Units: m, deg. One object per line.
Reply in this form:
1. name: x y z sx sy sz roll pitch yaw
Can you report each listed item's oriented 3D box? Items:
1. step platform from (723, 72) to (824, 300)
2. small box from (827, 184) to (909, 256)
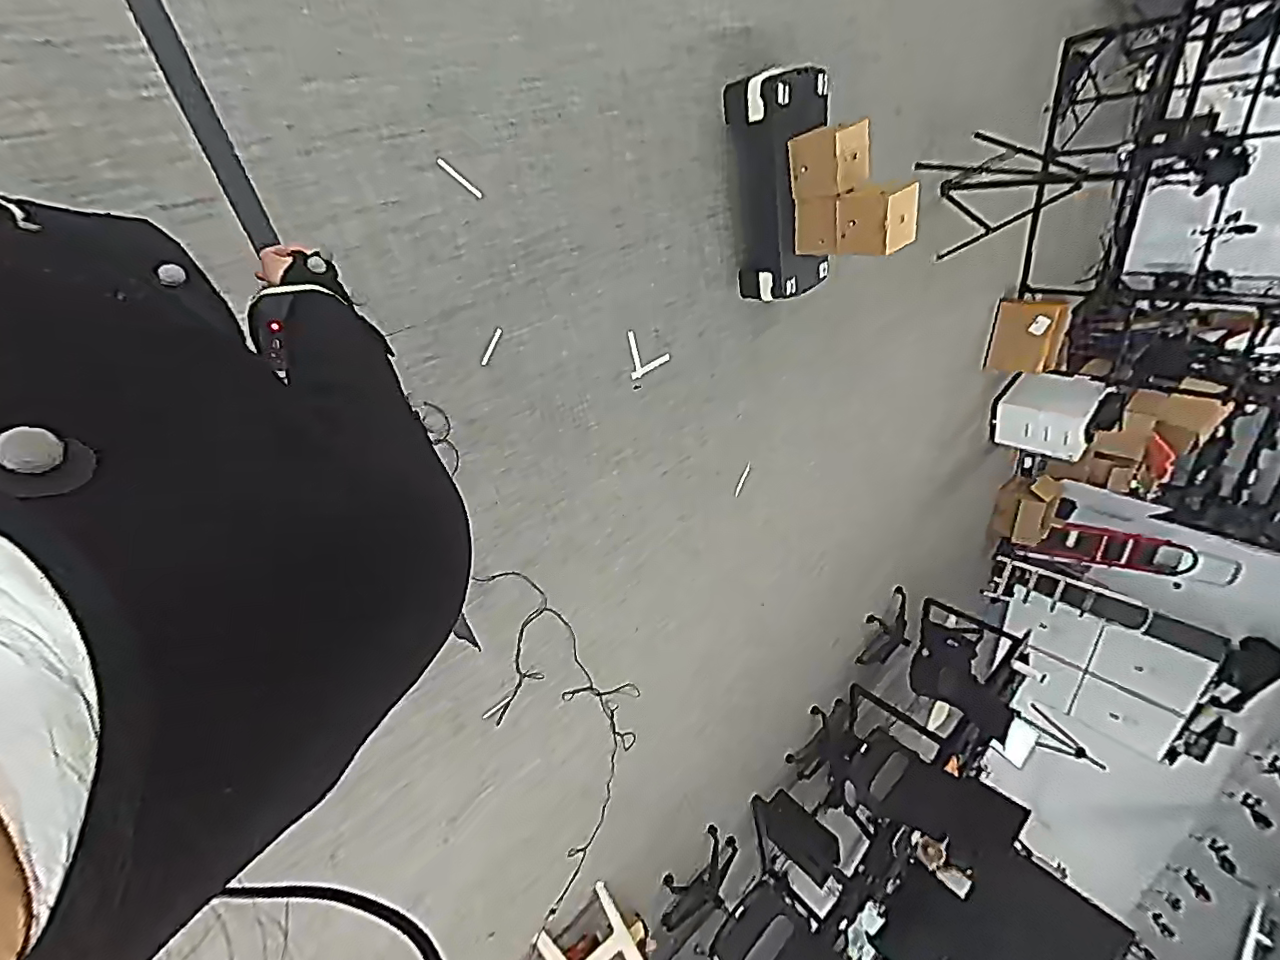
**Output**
1. step platform: 0.480 -0.989 1.875 0.286 0.204 0.684 -33 127 -29
2. small box: 0.704 -0.810 1.680 0.179 0.176 0.168 -34 129 -27
